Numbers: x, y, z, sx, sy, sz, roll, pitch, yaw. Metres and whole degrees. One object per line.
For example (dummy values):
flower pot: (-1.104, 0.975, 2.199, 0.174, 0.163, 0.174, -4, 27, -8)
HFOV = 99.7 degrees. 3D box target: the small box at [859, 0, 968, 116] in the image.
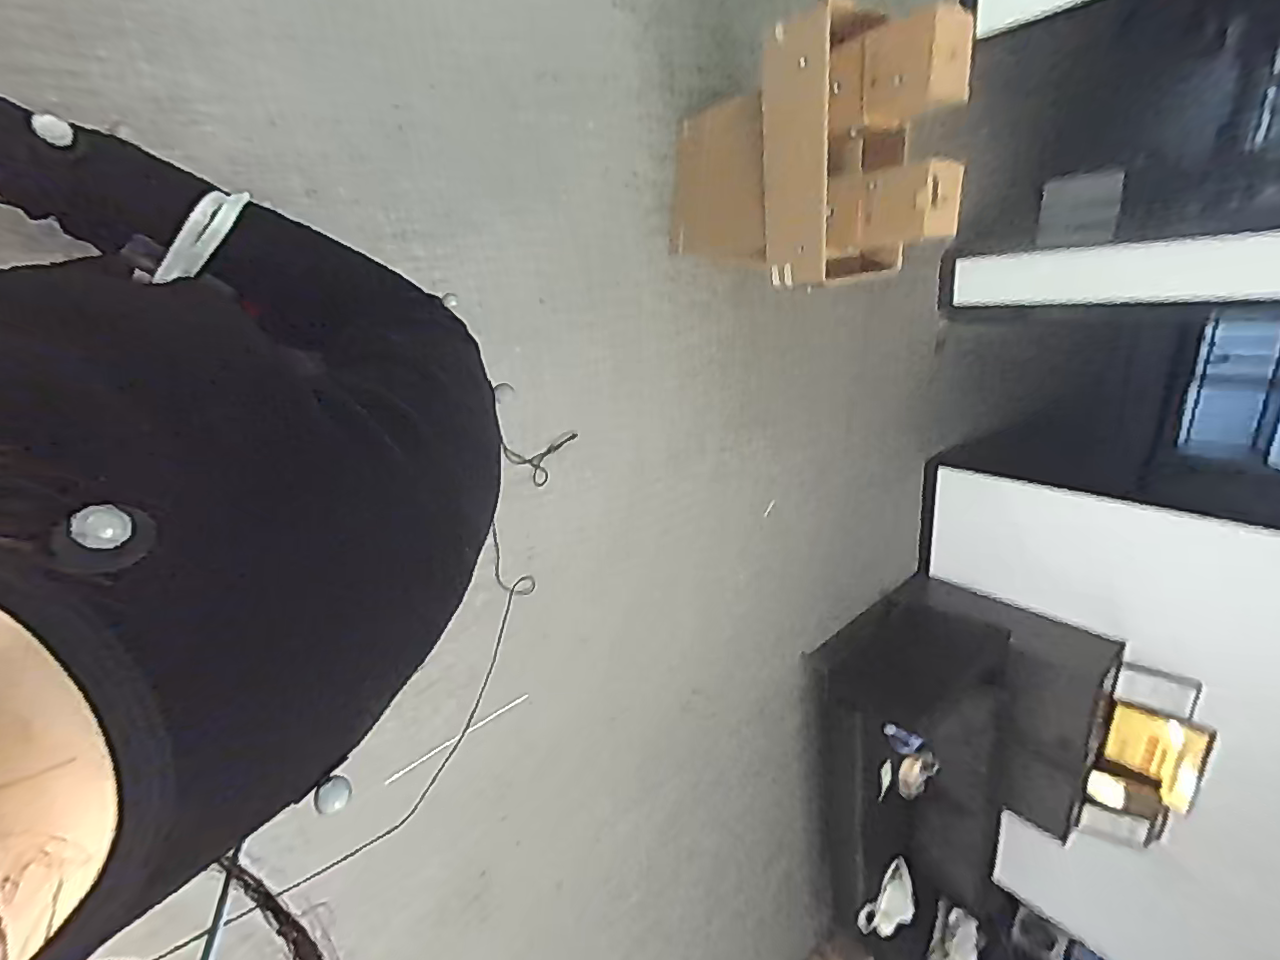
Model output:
small box: (0.633, -0.975, 1.266, 0.179, 0.176, 0.168, -21, 116, -34)

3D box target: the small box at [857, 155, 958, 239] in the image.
small box: (0.676, -0.712, 1.378, 0.179, 0.176, 0.168, -19, 114, -35)
